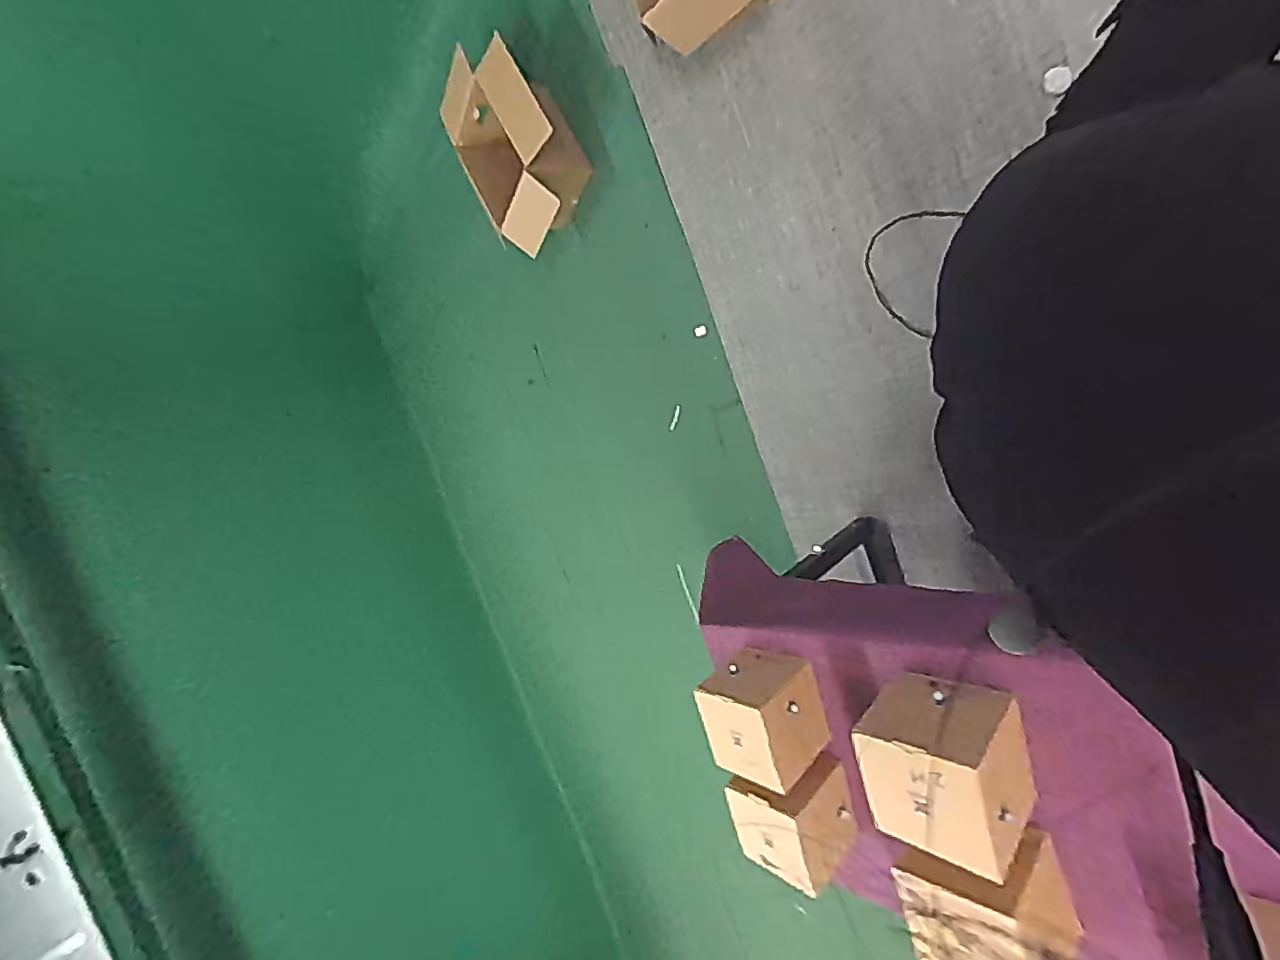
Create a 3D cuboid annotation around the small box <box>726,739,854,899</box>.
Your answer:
[{"bbox_3d":[0.300,0.655,1.073,0.168,0.176,0.179,-3,105,50],"label":"small box"}]

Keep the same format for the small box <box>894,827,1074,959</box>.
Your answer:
[{"bbox_3d":[0.516,0.629,0.811,0.168,0.176,0.179,-14,97,51],"label":"small box"}]

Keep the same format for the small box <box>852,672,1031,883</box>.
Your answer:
[{"bbox_3d":[0.441,0.414,0.786,0.168,0.176,0.179,-6,104,50],"label":"small box"}]
